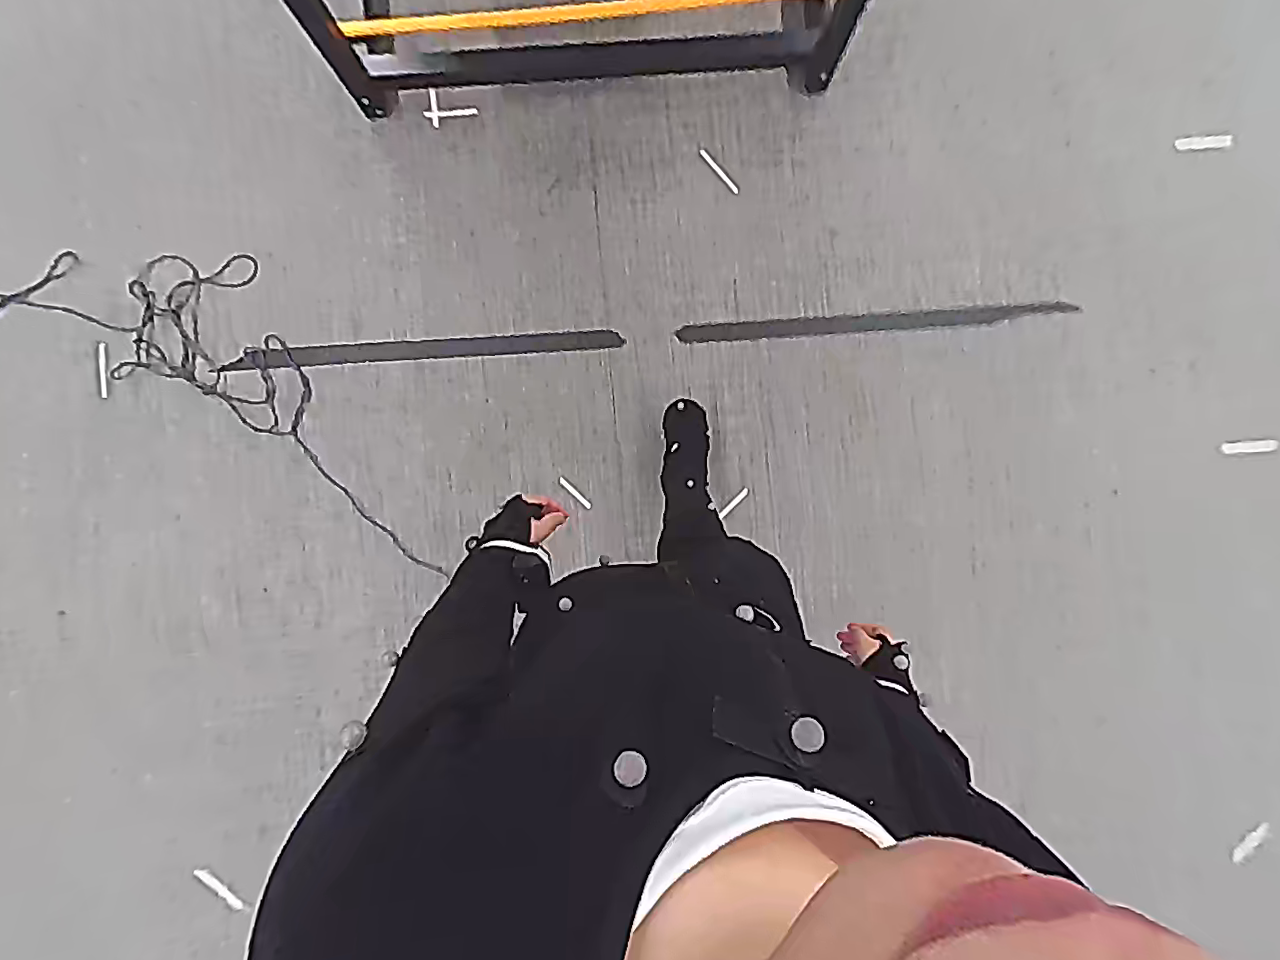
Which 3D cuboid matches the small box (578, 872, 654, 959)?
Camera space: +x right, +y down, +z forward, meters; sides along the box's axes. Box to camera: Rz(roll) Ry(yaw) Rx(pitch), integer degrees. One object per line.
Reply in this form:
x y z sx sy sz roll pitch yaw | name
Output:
-0.053 1.081 1.284 0.168 0.176 0.179 -5 89 -1 | small box
